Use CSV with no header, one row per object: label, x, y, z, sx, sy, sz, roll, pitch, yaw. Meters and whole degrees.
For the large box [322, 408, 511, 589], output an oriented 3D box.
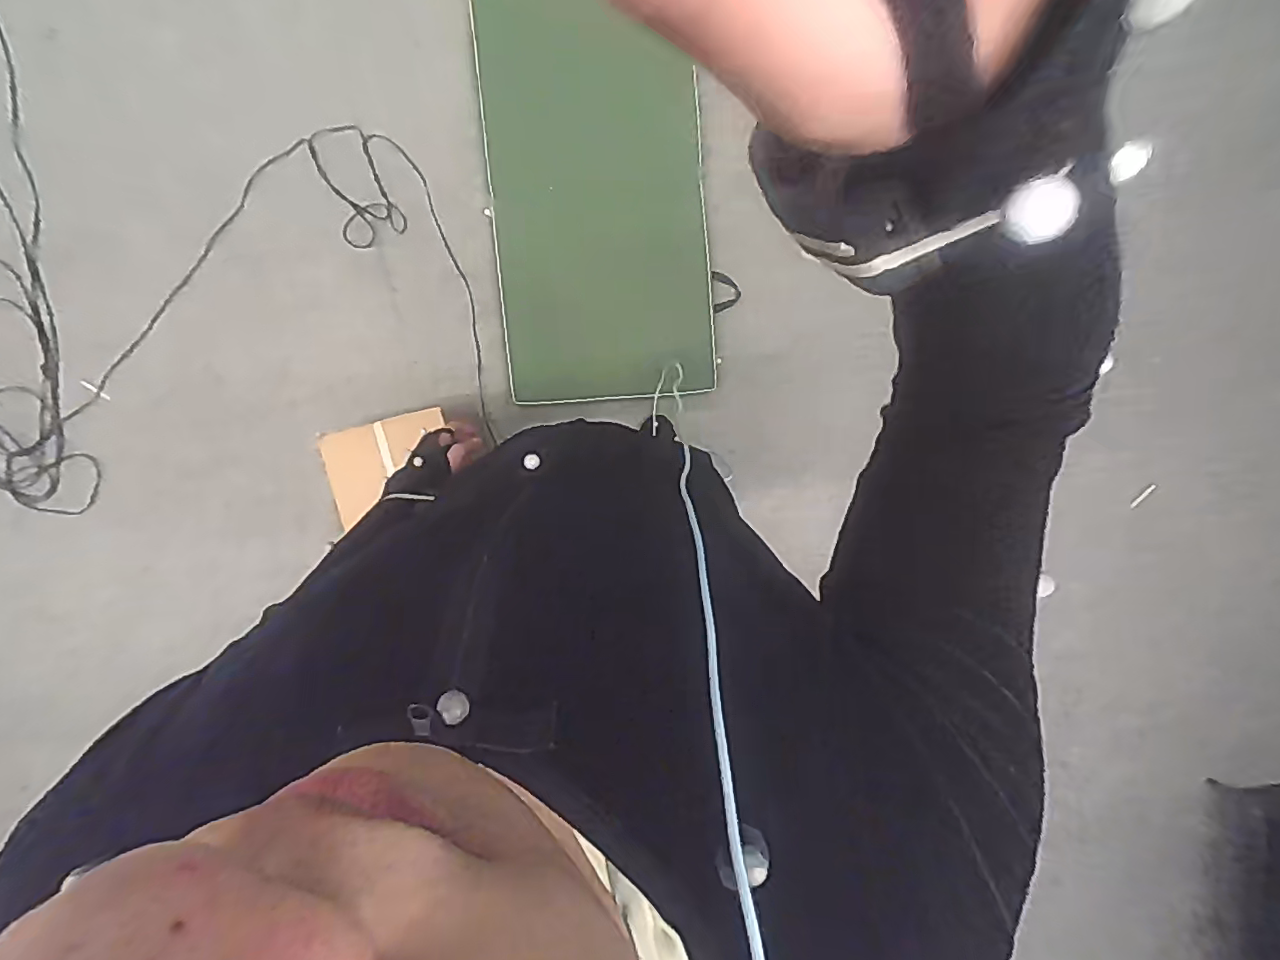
large box,-0.585,0.039,1.488,0.320,0.320,0.408,-14,94,1
